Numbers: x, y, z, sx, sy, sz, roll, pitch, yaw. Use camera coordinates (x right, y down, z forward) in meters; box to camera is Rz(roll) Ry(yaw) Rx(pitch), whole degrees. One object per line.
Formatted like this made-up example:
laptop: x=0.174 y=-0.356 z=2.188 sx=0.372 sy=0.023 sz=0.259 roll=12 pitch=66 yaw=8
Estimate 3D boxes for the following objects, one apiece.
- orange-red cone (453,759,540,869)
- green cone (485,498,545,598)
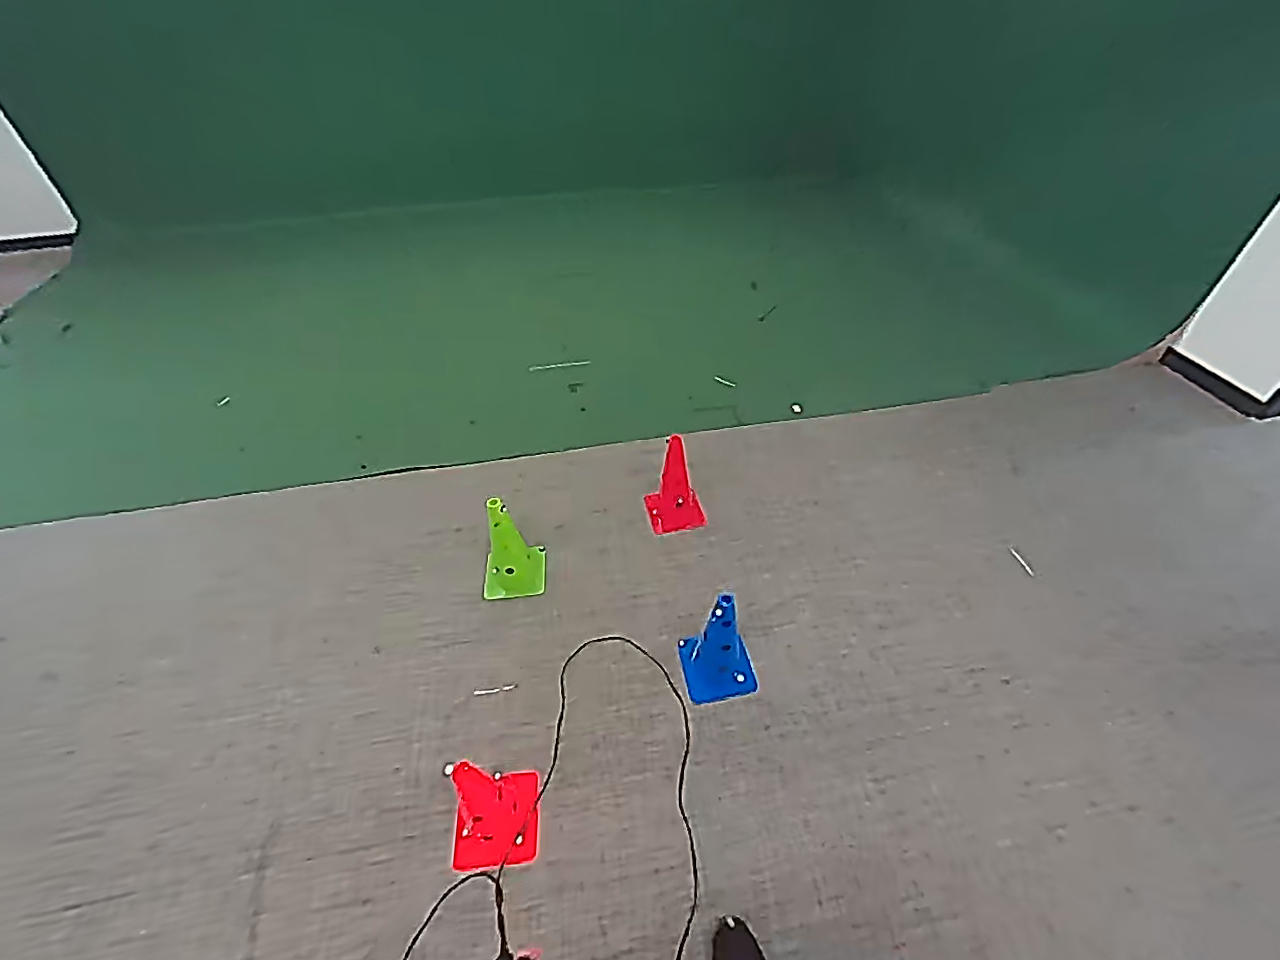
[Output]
orange-red cone: x=-0.347 y=0.701 z=1.198 sx=0.198 sy=0.360 sz=0.199 roll=-4 pitch=43 yaw=-3
green cone: x=-0.428 y=0.187 z=1.714 sx=0.200 sy=0.368 sz=0.202 roll=-7 pitch=46 yaw=-4
